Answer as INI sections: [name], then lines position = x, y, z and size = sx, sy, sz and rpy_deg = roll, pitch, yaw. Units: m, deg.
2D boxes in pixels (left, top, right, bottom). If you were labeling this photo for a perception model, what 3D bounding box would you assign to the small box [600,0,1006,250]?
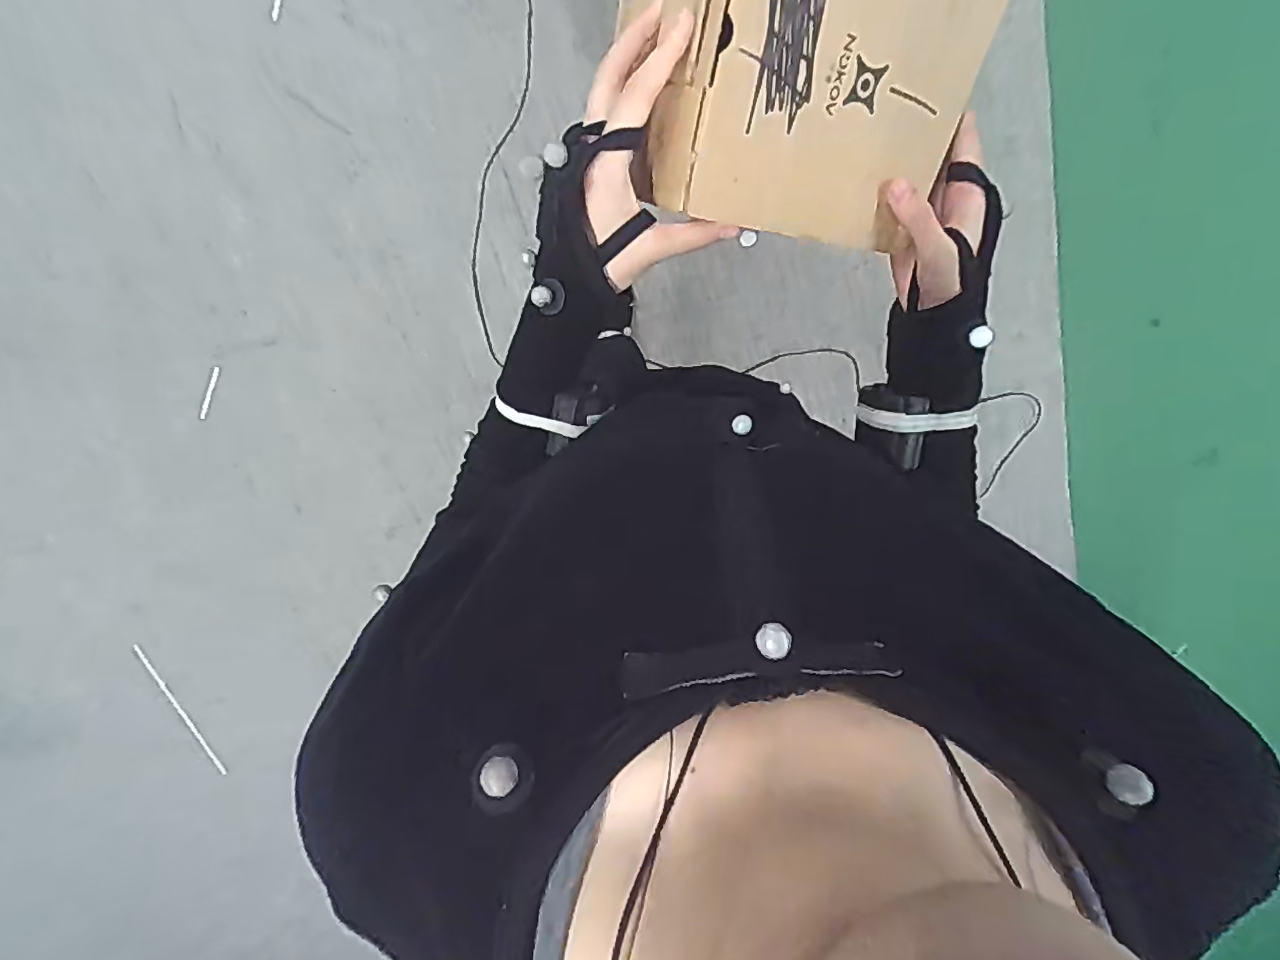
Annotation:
[small box]
position = 0.086, -0.263, 0.353
size = 0.179, 0.176, 0.168
rpy_deg = -2, 122, -25
